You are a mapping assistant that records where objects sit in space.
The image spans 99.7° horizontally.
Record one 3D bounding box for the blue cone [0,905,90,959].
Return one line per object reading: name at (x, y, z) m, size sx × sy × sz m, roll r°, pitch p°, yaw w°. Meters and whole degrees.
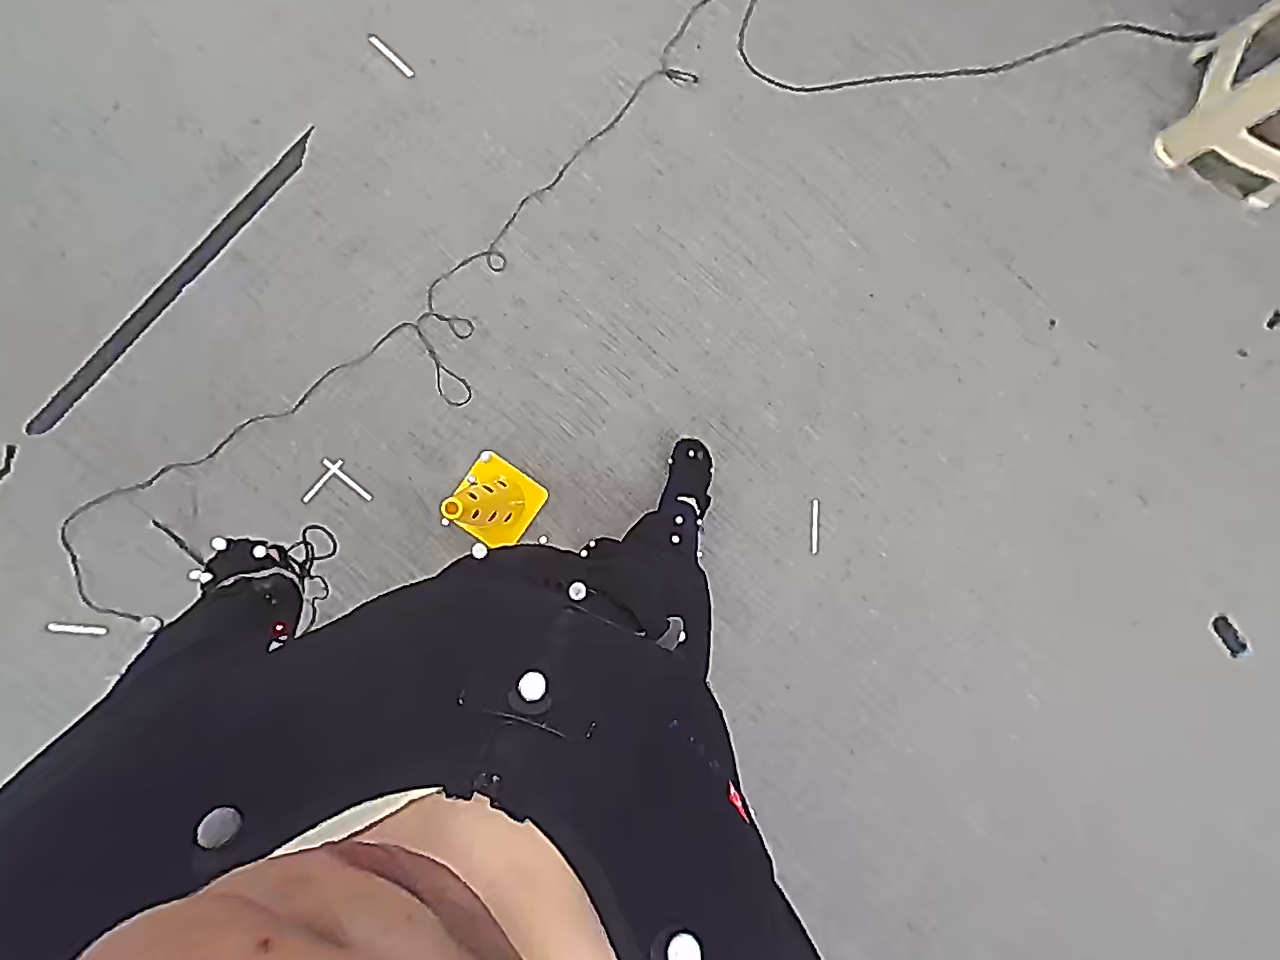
blue cone at (-1.452, 1.146, 1.144) m, size 0.192 × 0.380 × 0.193 m, roll 43°, pitch 89°, yaw -2°
